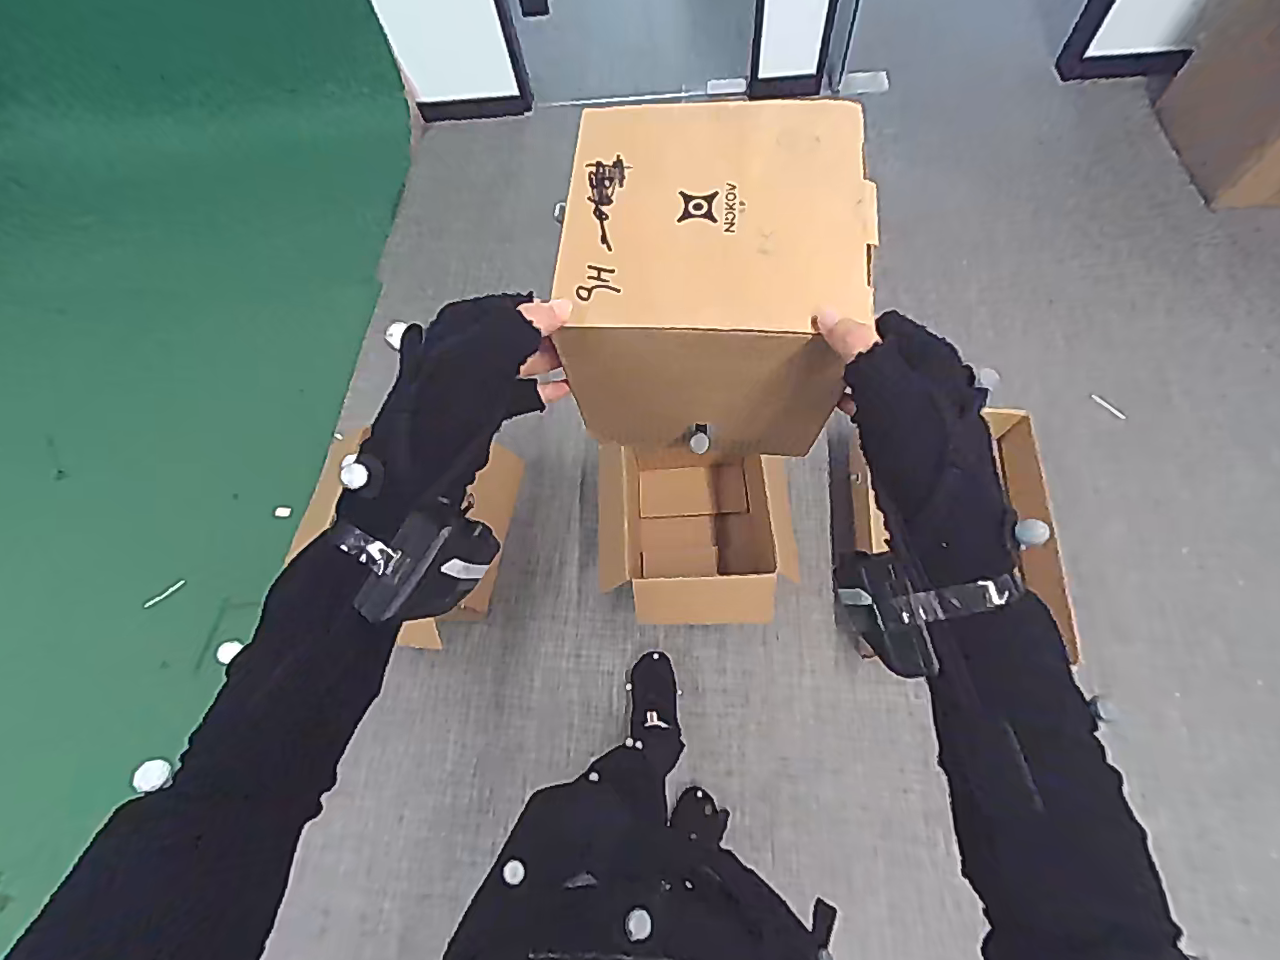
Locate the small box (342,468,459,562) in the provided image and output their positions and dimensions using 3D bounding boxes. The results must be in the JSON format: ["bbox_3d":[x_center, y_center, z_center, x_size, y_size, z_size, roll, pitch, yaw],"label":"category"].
[{"bbox_3d":[-0.553,0.088,1.280,0.179,0.176,0.168,6,65,7],"label":"small box"}]

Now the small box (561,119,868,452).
[{"bbox_3d":[0.052,-0.129,0.405,0.179,0.176,0.168,5,70,4],"label":"small box"}]
